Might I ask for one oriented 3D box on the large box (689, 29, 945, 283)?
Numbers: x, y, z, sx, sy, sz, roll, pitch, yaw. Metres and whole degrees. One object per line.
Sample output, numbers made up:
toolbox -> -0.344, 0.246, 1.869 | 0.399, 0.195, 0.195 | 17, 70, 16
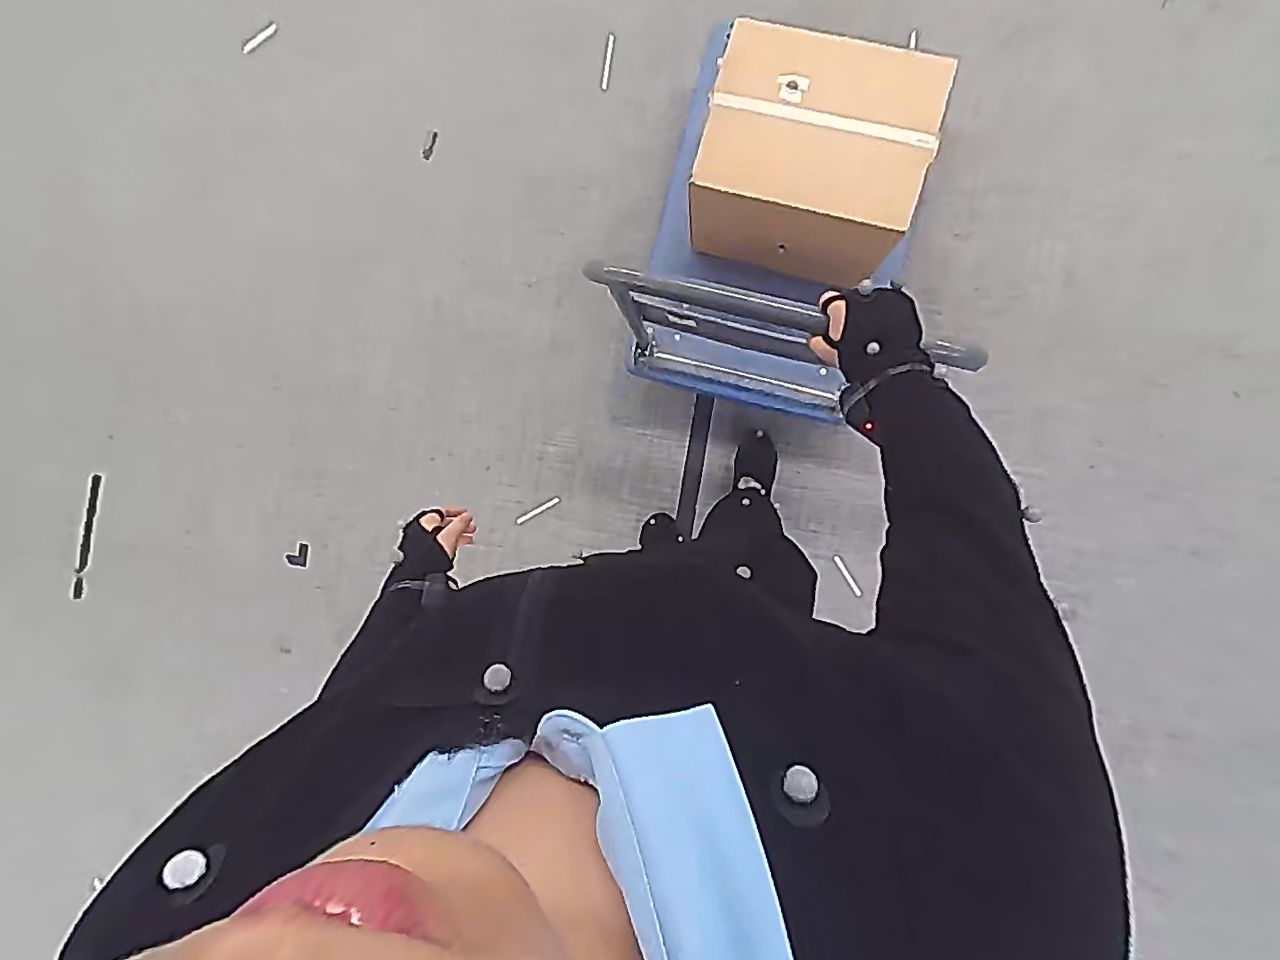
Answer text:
large box -> 0.340, -0.651, 1.139 | 0.408, 0.320, 0.320 | 16, 91, 7
